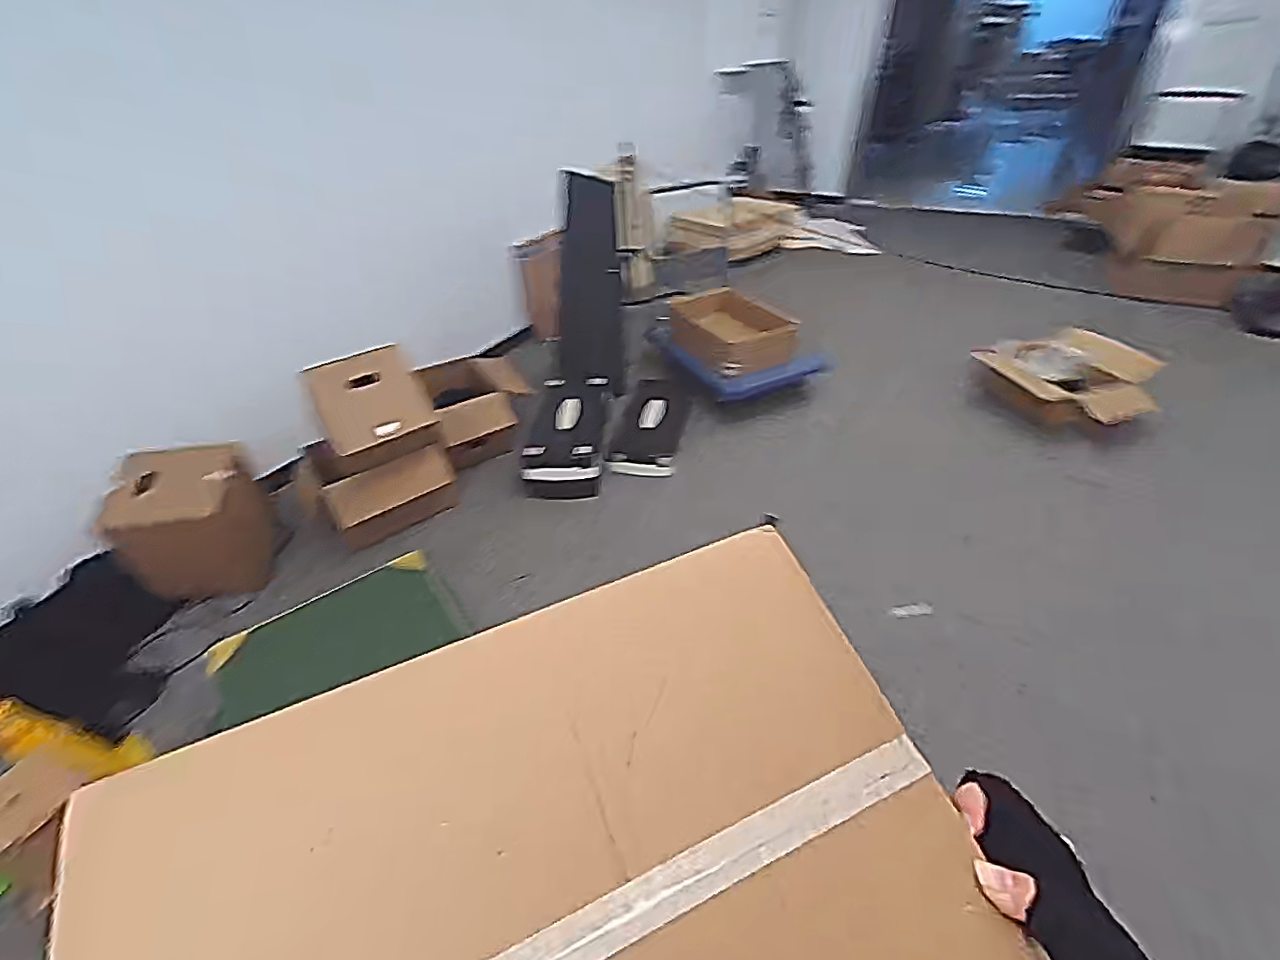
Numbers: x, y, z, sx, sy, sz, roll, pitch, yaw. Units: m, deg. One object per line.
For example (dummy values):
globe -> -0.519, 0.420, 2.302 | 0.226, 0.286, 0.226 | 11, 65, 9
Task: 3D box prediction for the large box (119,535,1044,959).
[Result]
large box -> -0.032, 0.299, 0.380 | 0.408, 0.320, 0.320 | -18, 60, -14
